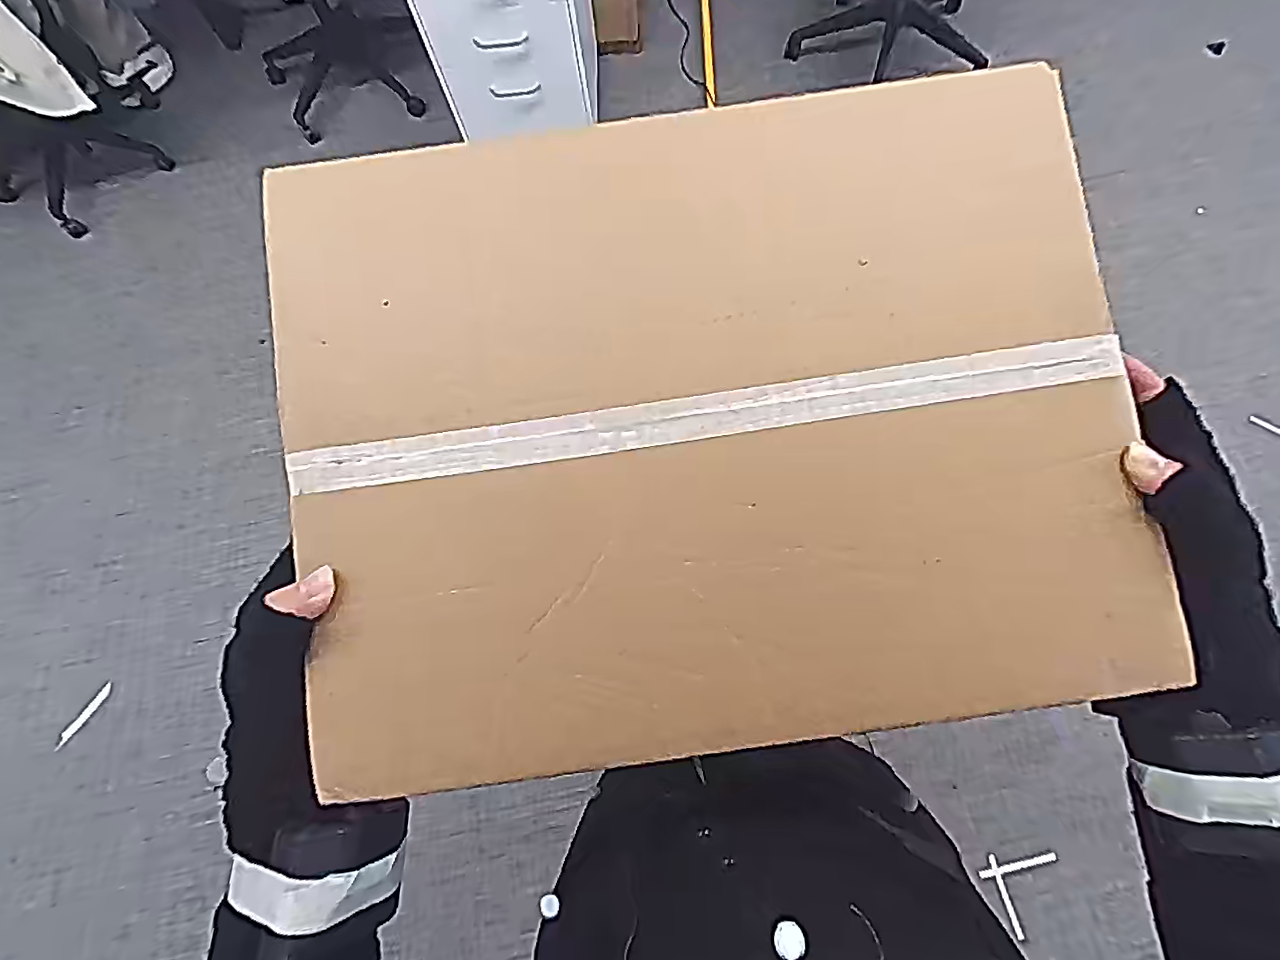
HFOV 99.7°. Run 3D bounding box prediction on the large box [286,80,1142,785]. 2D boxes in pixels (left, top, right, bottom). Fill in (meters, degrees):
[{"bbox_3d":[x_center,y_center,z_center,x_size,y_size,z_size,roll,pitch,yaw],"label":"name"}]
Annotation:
[{"bbox_3d":[0.033,-0.021,0.423,0.408,0.320,0.320,-8,85,0],"label":"large box"}]
